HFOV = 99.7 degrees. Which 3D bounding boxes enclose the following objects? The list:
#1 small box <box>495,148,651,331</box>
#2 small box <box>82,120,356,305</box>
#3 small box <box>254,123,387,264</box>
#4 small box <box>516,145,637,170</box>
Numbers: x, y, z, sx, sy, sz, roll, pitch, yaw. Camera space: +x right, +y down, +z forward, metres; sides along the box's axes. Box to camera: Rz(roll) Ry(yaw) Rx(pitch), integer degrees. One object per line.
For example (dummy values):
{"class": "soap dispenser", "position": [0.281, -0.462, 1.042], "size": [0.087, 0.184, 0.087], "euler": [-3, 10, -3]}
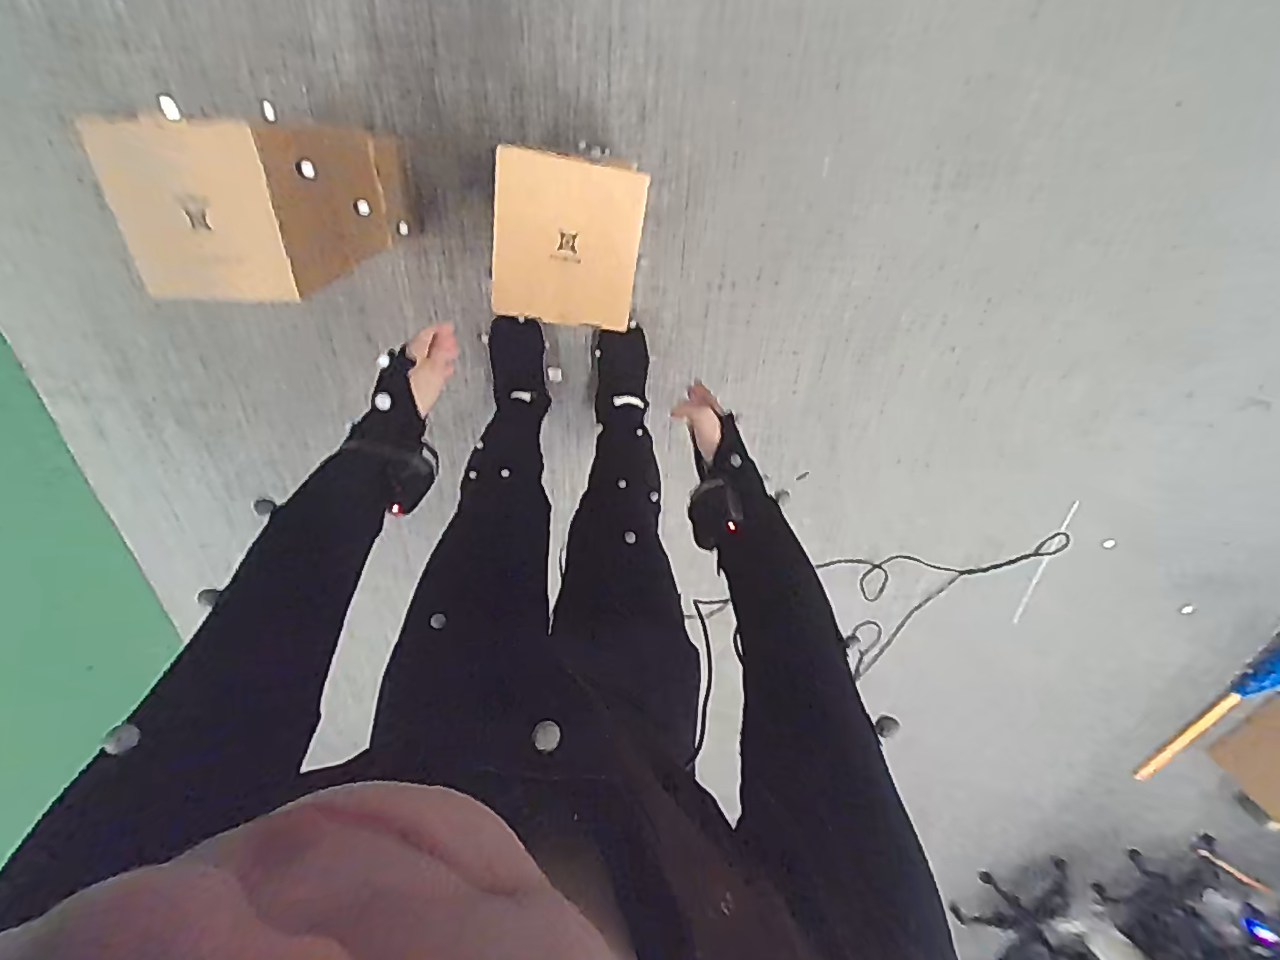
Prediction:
{"class": "small box", "position": [-0.090, -0.308, 0.687], "size": [0.168, 0.176, 0.179], "euler": [5, 121, -10]}
{"class": "small box", "position": [-0.466, -0.315, 0.638], "size": [0.168, 0.176, 0.179], "euler": [-2, 122, -4]}
{"class": "small box", "position": [-0.484, -0.404, 0.773], "size": [0.168, 0.176, 0.179], "euler": [-3, 122, -4]}
{"class": "small box", "position": [-0.102, -0.398, 0.823], "size": [0.168, 0.176, 0.179], "euler": [3, 121, -8]}
